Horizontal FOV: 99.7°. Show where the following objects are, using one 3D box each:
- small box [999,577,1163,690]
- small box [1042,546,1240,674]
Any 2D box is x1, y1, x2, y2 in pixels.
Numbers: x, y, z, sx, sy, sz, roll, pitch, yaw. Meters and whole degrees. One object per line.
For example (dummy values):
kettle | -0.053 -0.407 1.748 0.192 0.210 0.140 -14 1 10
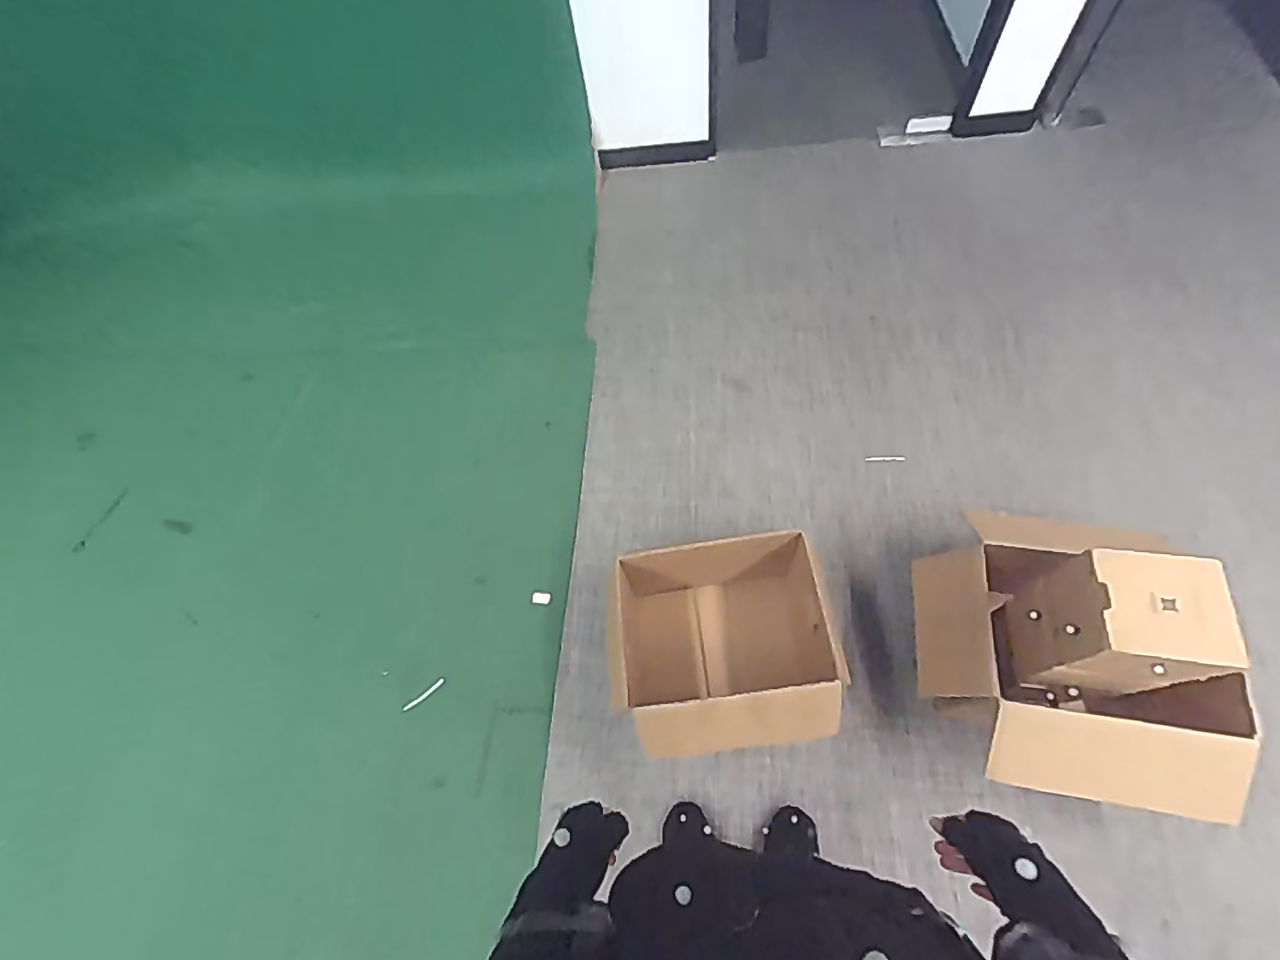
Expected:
small box | 0.833 0.301 1.043 0.179 0.176 0.168 4 62 12
small box | 0.810 0.222 0.903 0.179 0.176 0.168 4 65 11
